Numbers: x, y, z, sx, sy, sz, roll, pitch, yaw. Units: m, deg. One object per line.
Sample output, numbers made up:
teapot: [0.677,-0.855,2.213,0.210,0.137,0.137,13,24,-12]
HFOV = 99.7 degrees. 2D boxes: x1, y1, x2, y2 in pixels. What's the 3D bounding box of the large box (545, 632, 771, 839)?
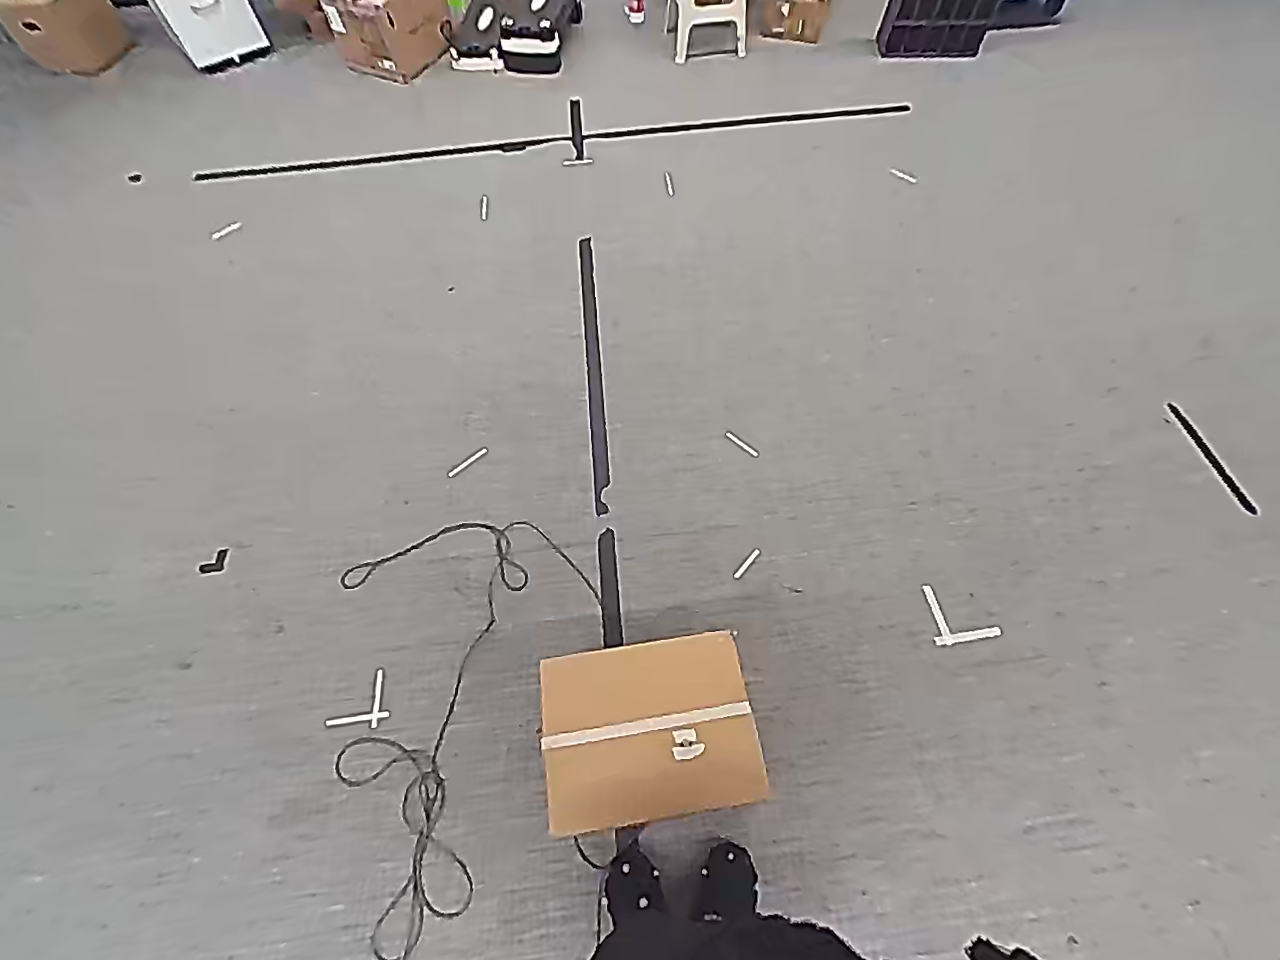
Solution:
large box: [0.025,0.561,1.179,0.408,0.320,0.320,-8,59,-4]
